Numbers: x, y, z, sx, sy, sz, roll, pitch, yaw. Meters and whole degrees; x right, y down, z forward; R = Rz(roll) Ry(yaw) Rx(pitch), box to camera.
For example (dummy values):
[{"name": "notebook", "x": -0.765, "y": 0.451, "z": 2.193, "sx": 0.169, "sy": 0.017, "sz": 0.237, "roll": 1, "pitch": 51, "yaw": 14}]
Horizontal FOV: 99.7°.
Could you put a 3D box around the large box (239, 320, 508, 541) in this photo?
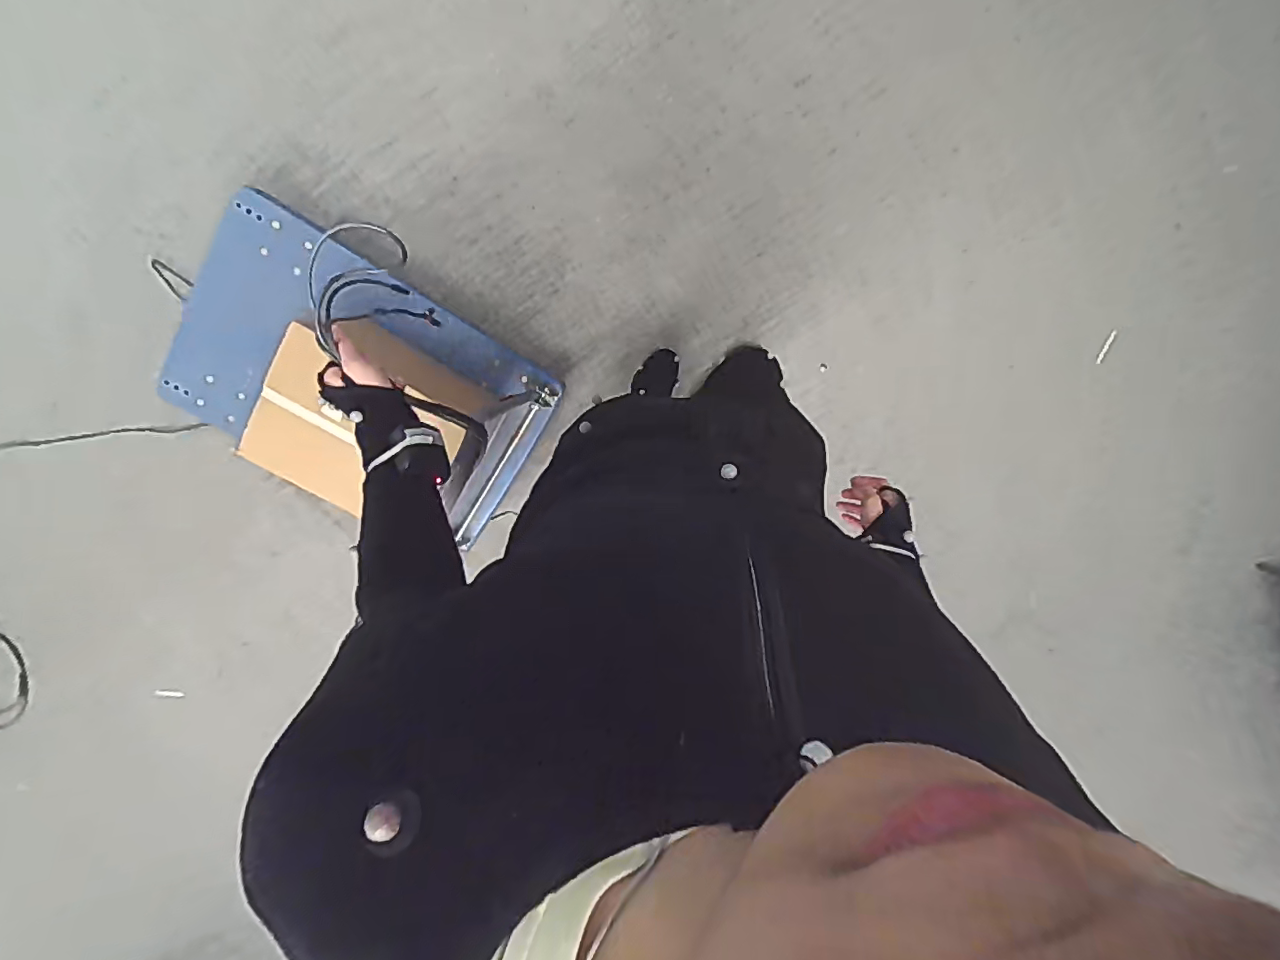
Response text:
[{"name": "large box", "x": -0.577, "y": -0.127, "z": 1.243, "sx": 0.408, "sy": 0.320, "sz": 0.320, "roll": 31, "pitch": 103, "yaw": -10}]
